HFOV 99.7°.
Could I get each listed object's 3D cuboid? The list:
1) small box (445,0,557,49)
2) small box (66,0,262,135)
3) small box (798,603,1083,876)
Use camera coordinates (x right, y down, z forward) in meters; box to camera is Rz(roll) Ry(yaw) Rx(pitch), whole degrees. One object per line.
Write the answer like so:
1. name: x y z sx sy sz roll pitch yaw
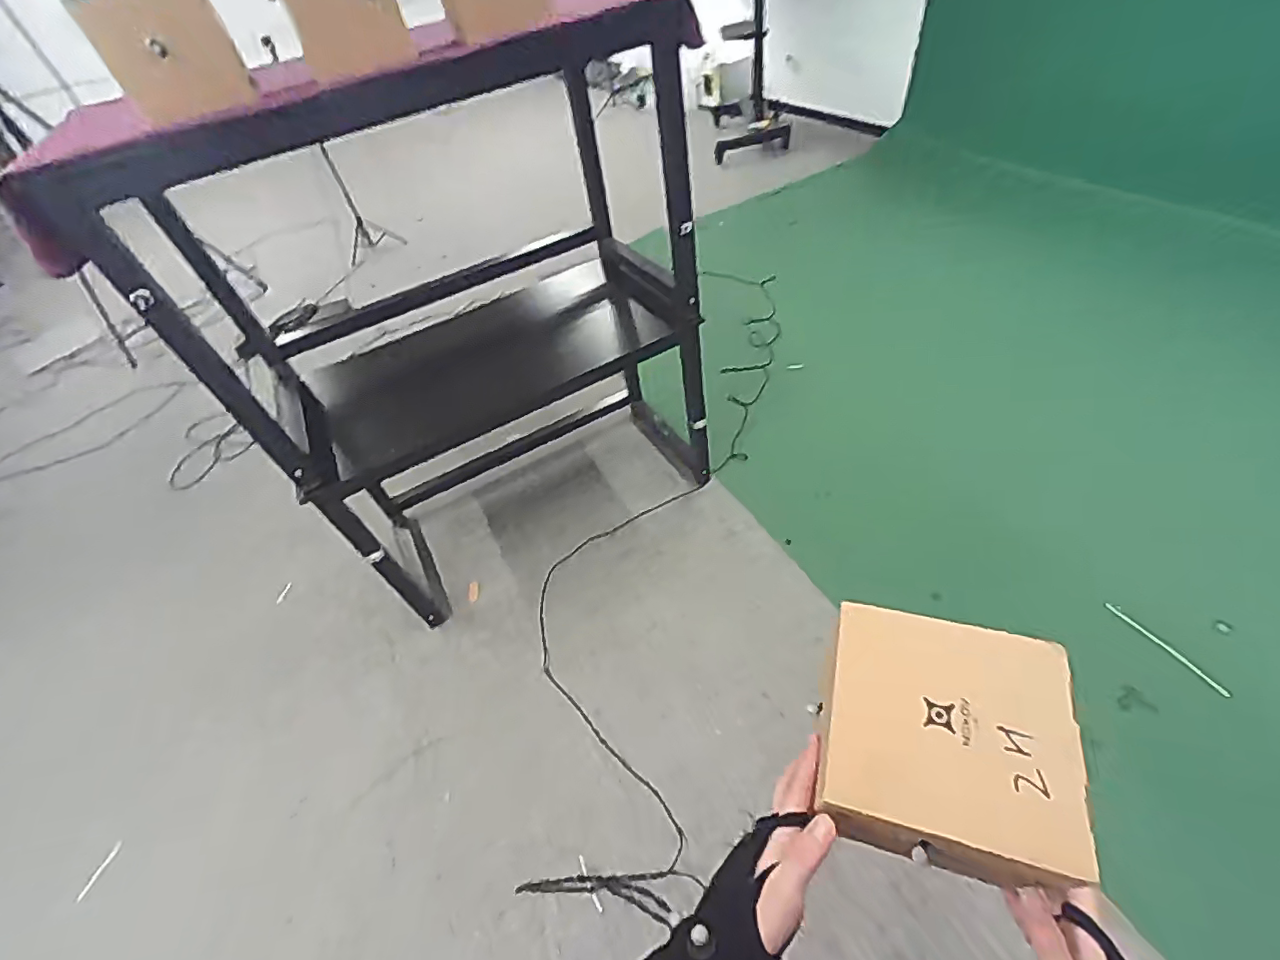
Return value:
1. small box: -0.280 -0.943 1.021 0.179 0.176 0.168 -26 50 -12
2. small box: -0.757 -0.697 0.888 0.179 0.176 0.168 -27 48 -13
3. small box: 0.244 0.234 0.485 0.179 0.176 0.168 9 55 16
